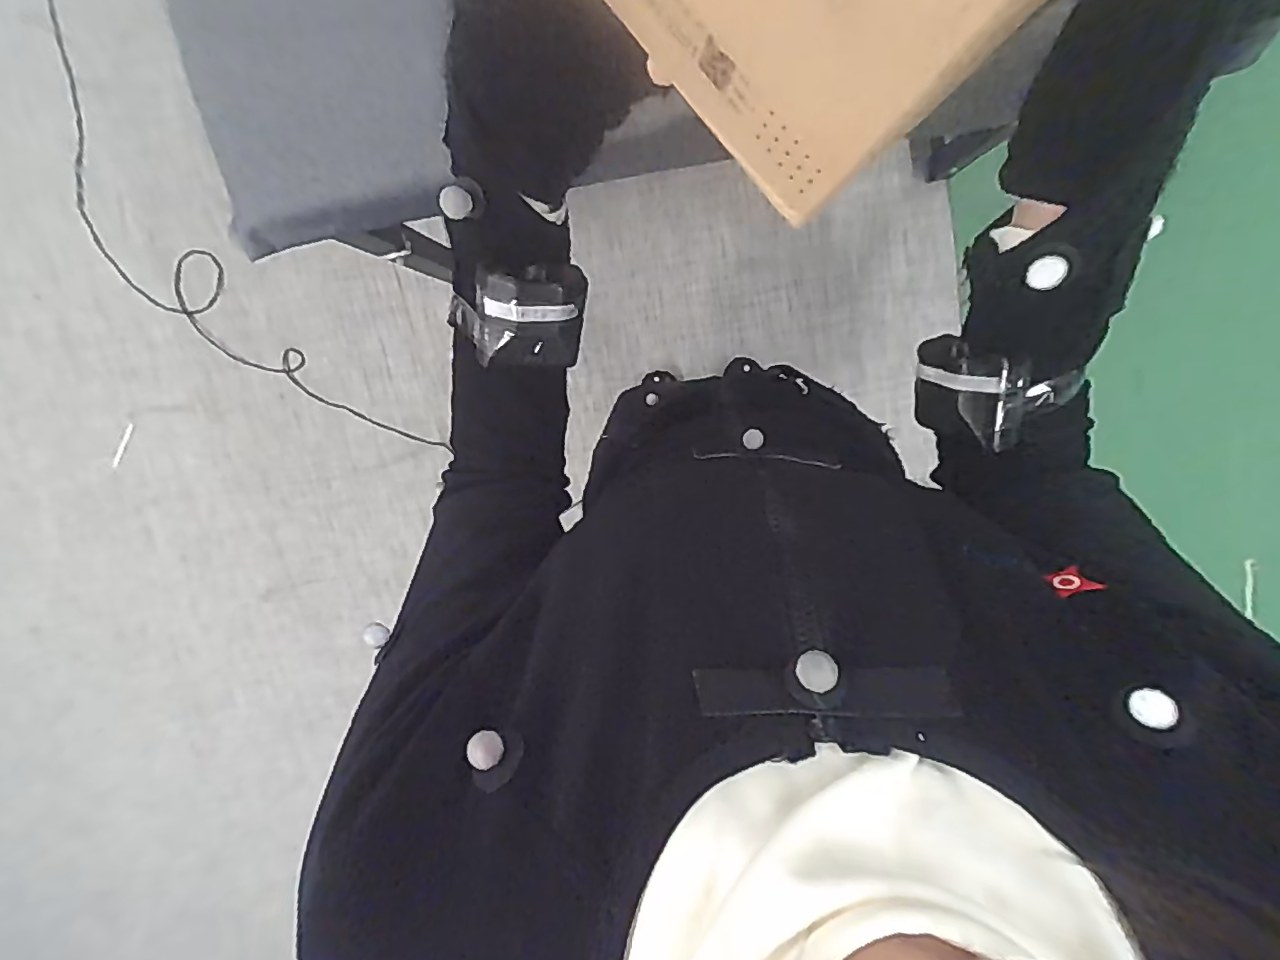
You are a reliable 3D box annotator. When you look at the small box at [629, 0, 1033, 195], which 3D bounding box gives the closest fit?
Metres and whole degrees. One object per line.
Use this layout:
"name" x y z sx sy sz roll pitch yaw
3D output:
"small box" 0.083 -0.228 0.153 0.179 0.176 0.168 -44 96 -9
